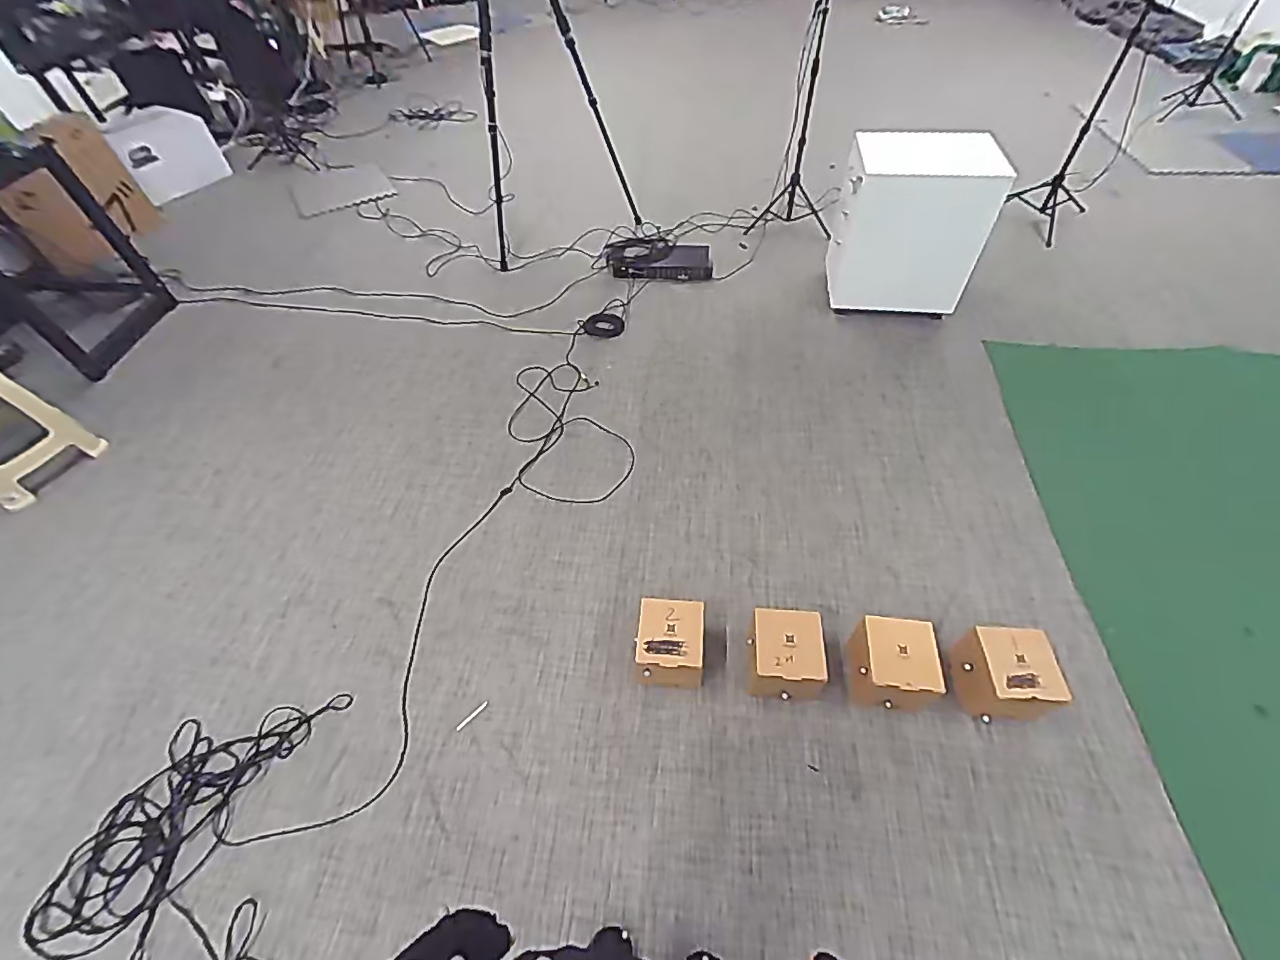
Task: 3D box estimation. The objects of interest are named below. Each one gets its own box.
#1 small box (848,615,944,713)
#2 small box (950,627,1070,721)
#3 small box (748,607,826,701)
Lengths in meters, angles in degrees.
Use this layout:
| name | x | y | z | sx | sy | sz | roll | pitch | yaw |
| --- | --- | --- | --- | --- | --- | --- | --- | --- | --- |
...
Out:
| name | x | y | z | sx | sy | sz | roll | pitch | yaw |
| --- | --- | --- | --- | --- | --- | --- | --- | --- | --- |
| small box | 0.635 | 0.467 | 1.367 | 0.168 | 0.176 | 0.179 | 5 | 53 | 6 |
| small box | 0.903 | 0.484 | 1.340 | 0.168 | 0.176 | 0.179 | 2 | 51 | 4 |
| small box | 0.369 | 0.449 | 1.391 | 0.168 | 0.176 | 0.179 | 3 | 52 | 6 |
